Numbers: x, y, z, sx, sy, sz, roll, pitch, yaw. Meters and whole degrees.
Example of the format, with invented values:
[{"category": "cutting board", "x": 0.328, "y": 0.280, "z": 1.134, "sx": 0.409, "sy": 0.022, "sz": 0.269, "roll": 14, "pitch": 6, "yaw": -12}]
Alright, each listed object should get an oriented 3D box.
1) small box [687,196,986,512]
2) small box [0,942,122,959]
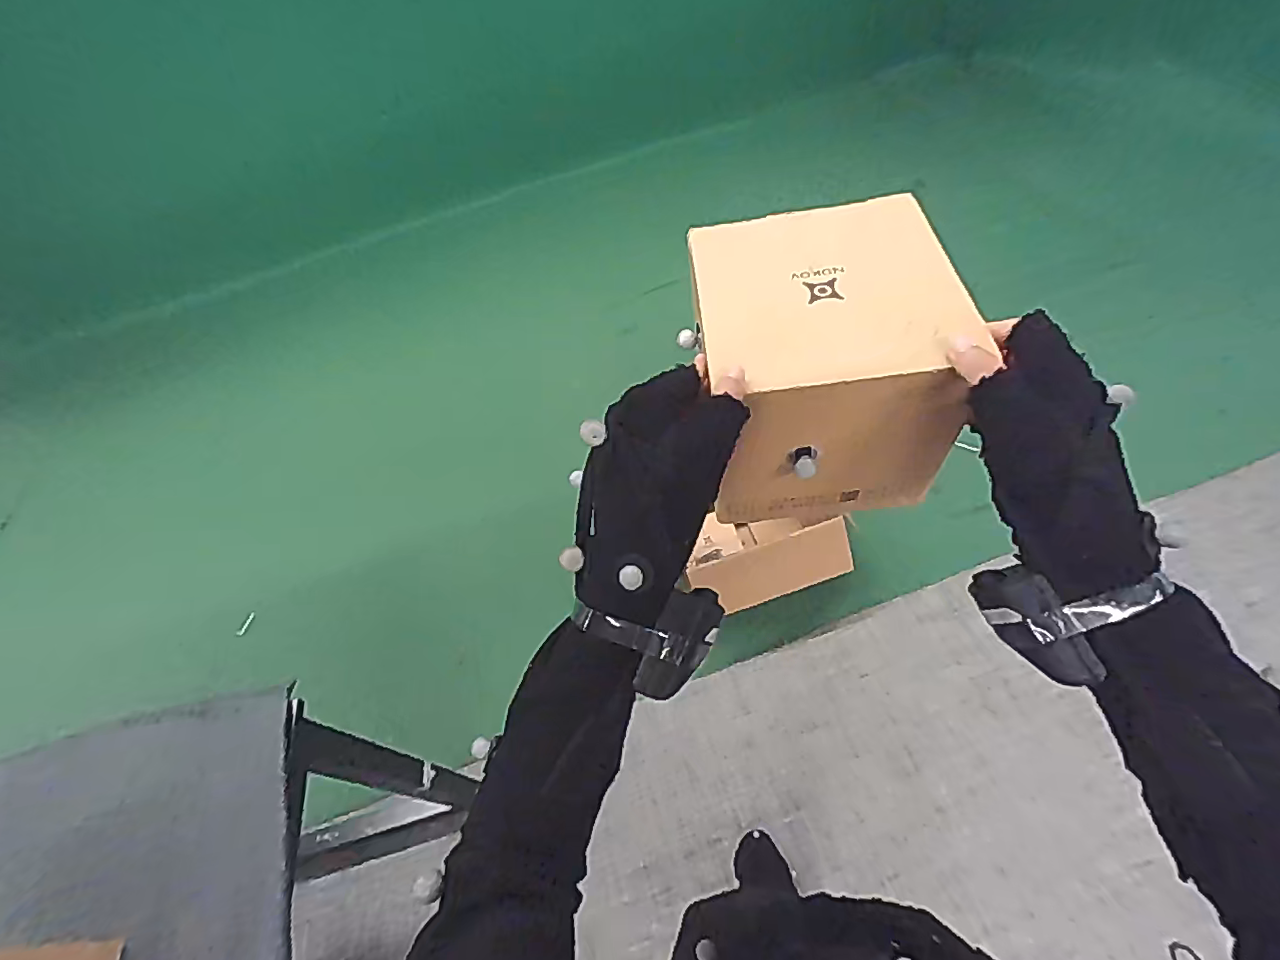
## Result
[{"category": "small box", "x": 0.132, "y": -0.086, "z": 0.431, "sx": 0.168, "sy": 0.176, "sz": 0.179, "roll": -7, "pitch": 56, "yaw": 7}, {"category": "small box", "x": -0.686, "y": 0.587, "z": 0.529, "sx": 0.179, "sy": 0.176, "sz": 0.168, "roll": -19, "pitch": 52, "yaw": -2}]
